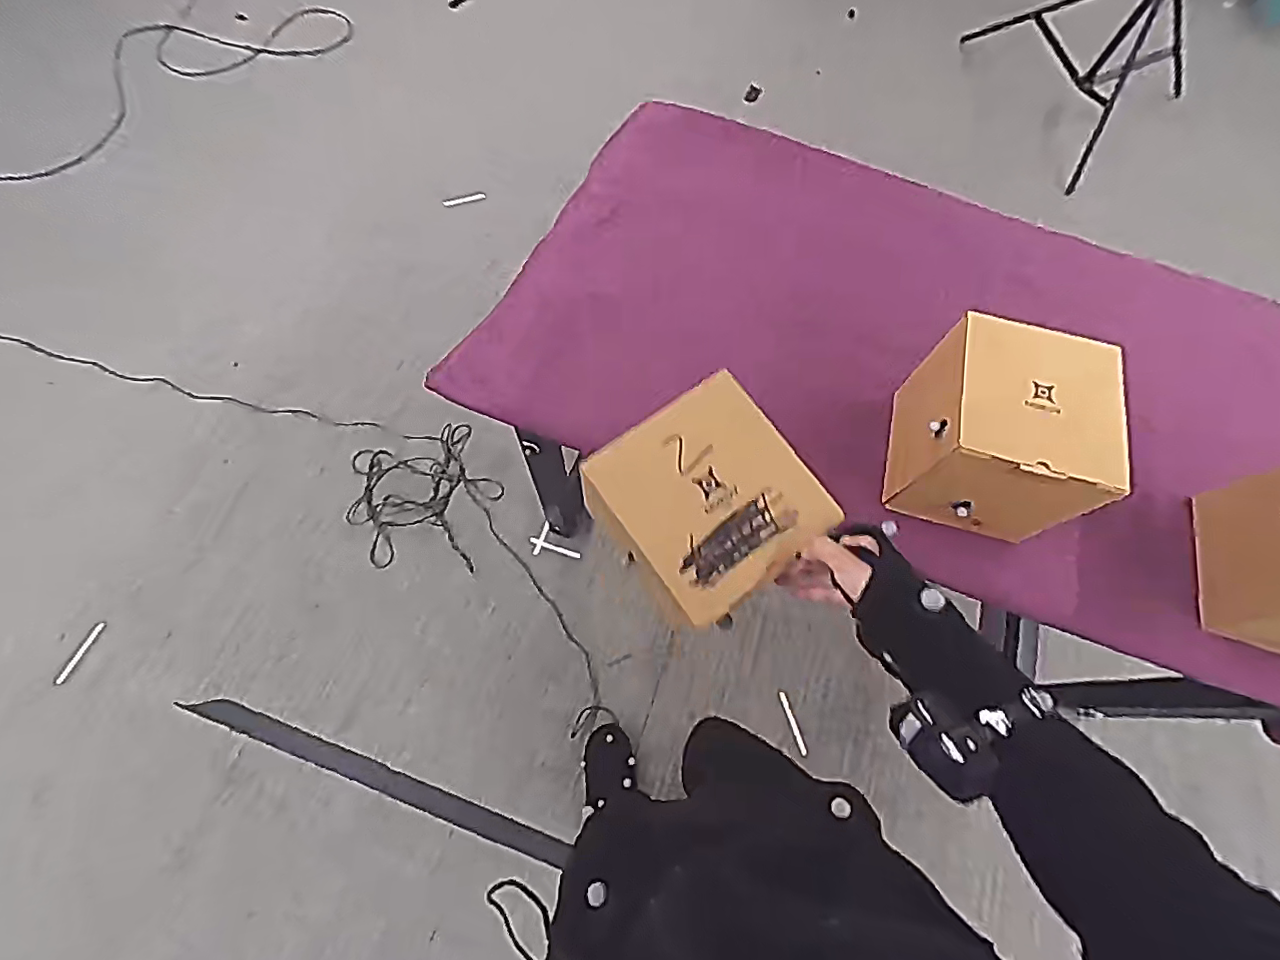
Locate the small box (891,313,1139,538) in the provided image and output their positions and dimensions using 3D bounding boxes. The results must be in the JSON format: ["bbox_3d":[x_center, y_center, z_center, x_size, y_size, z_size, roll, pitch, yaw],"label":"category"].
[{"bbox_3d":[0.409,-0.053,0.619,0.168,0.176,0.179,15,69,4],"label":"small box"}]

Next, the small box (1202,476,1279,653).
[{"bbox_3d":[0.761,0.091,0.575,0.168,0.176,0.179,18,68,6],"label":"small box"}]
